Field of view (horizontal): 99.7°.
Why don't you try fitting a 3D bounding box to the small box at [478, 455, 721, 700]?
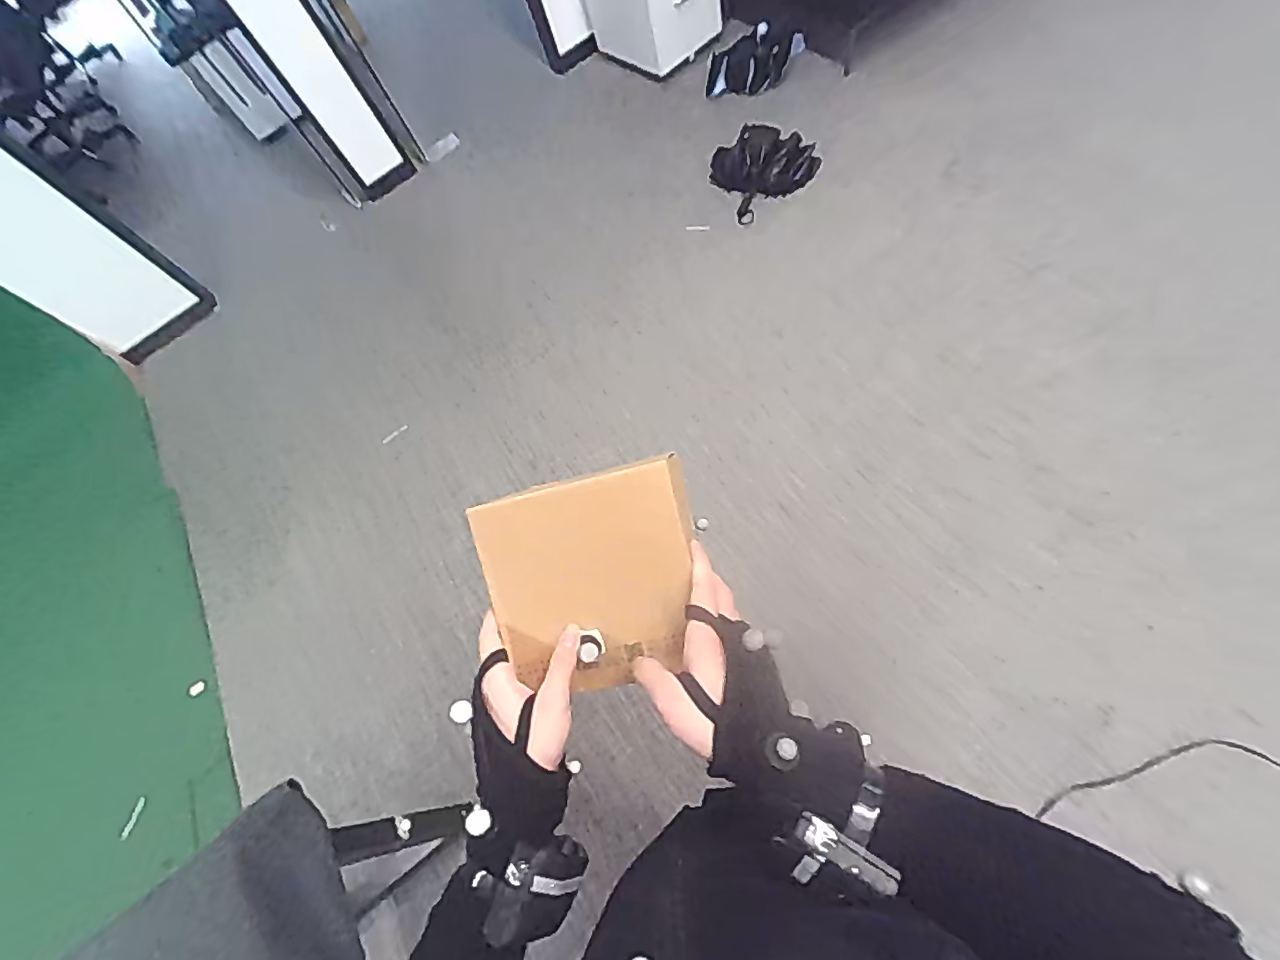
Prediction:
[{"bbox_3d":[-0.025,0.080,0.511,0.168,0.179,0.176,-15,93,7],"label":"small box"}]
